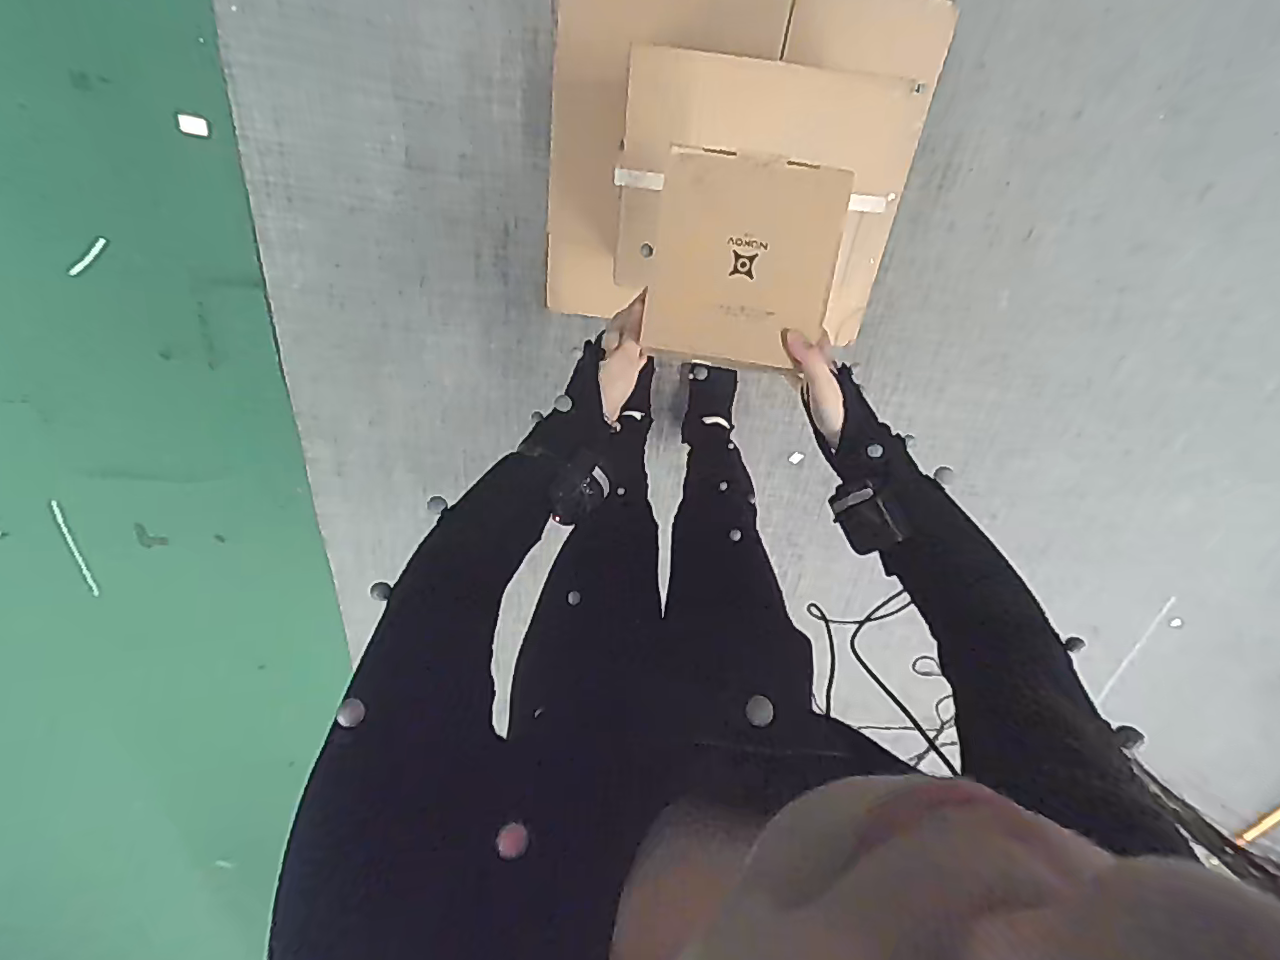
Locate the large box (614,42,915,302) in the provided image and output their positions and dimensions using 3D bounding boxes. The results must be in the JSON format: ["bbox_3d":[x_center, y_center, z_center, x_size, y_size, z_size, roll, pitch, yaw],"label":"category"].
[{"bbox_3d":[0.162,-0.504,0.929,0.408,0.320,0.320,3,119,-5],"label":"large box"}]

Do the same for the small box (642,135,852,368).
[{"bbox_3d":[0.096,-0.217,0.562,0.168,0.176,0.179,8,100,1],"label":"small box"}]
